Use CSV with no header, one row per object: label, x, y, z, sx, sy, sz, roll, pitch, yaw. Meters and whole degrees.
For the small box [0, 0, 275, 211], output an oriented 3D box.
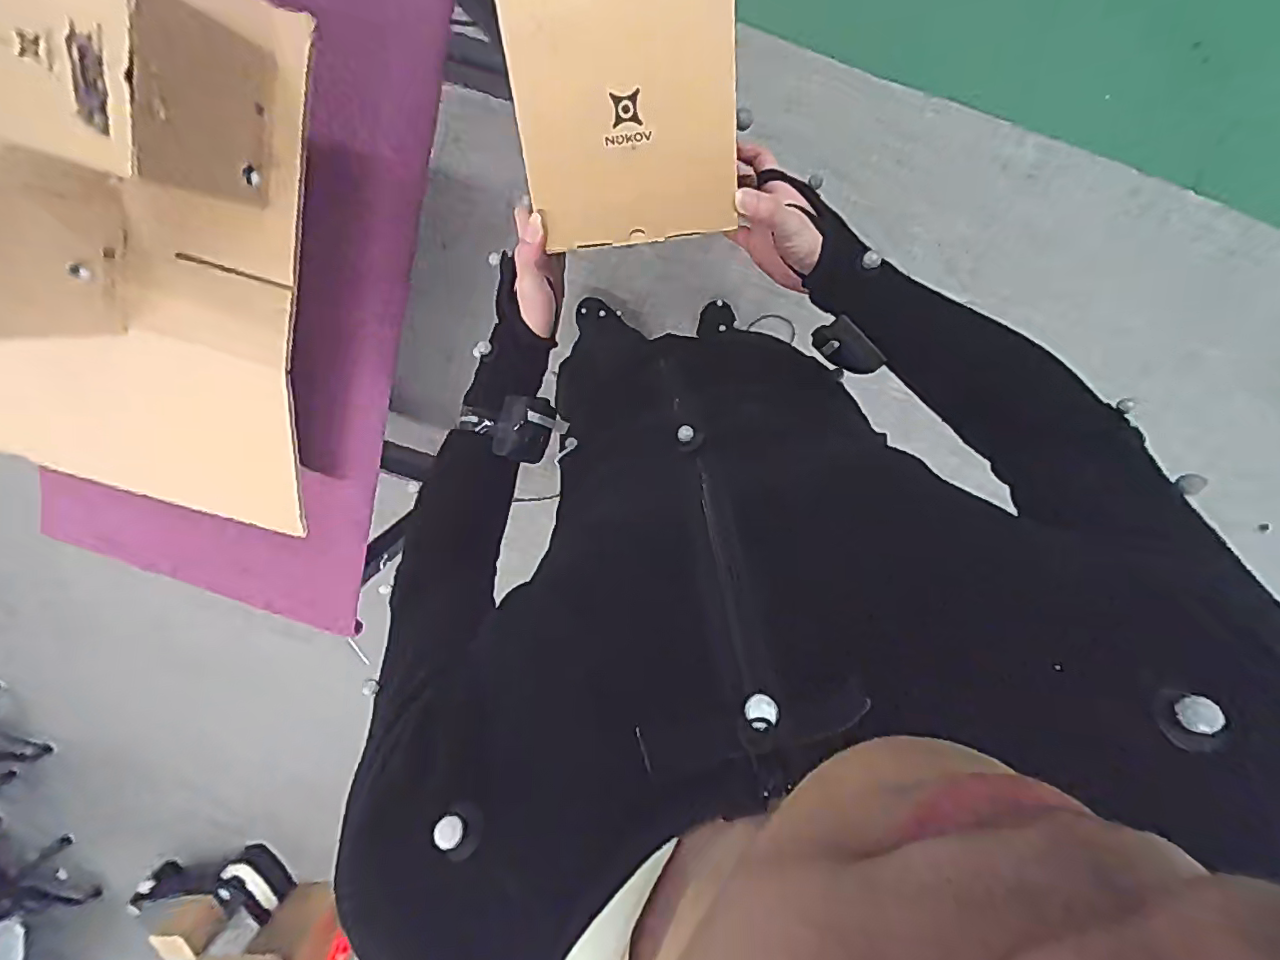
small box,-0.515,-0.392,0.553,0.179,0.176,0.168,17,108,1
